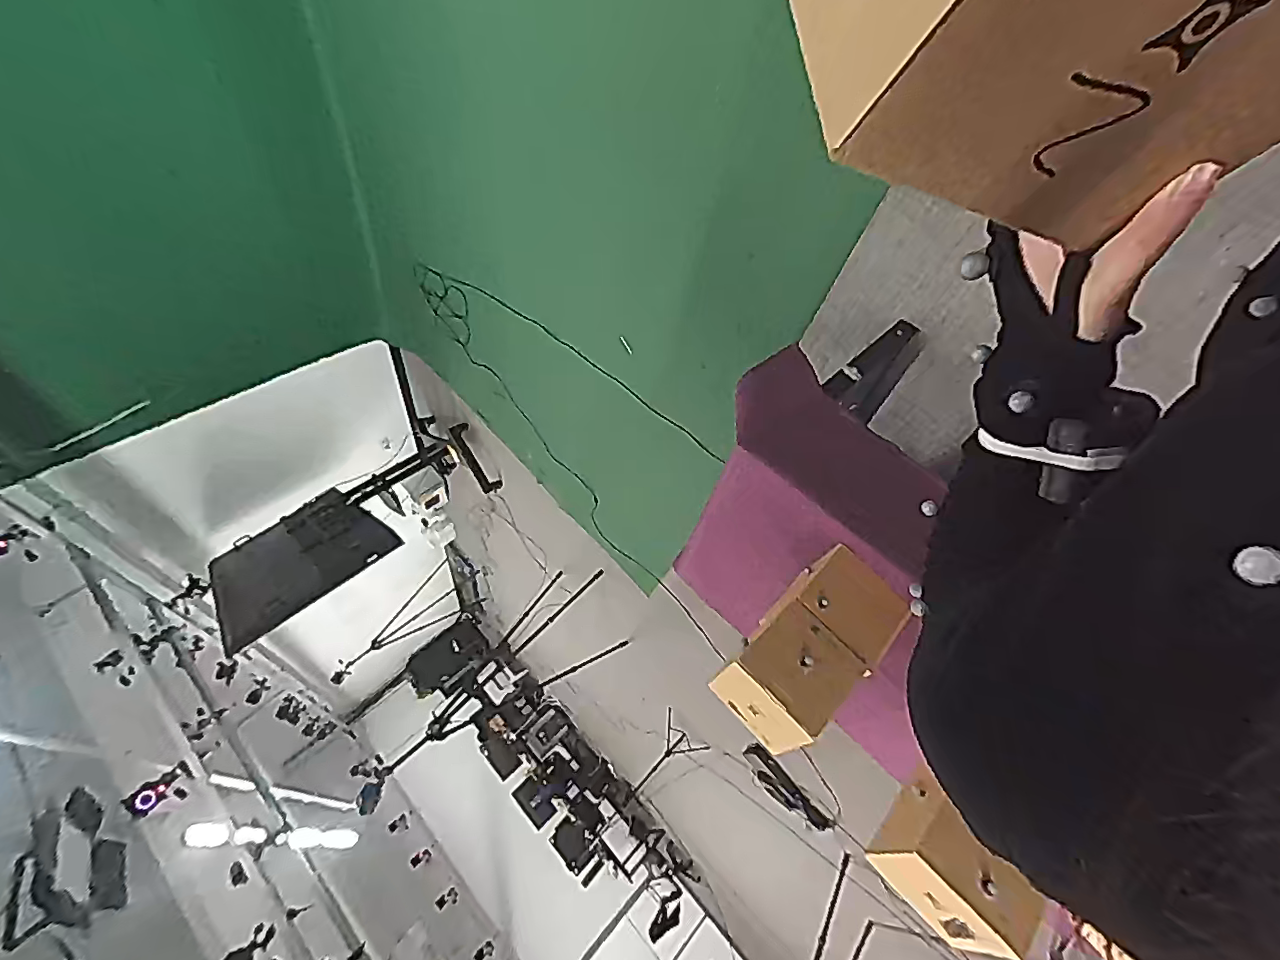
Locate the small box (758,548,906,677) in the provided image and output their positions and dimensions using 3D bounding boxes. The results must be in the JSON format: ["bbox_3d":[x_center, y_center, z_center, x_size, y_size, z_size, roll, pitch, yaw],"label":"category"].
[{"bbox_3d":[0.370,0.264,1.044,0.179,0.176,0.168,46,149,14],"label":"small box"}]

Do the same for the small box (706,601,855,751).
[{"bbox_3d":[0.252,0.346,0.964,0.168,0.176,0.179,44,148,17],"label":"small box"}]

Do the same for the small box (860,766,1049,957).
[{"bbox_3d":[0.503,0.600,0.870,0.179,0.176,0.168,43,148,19],"label":"small box"}]
